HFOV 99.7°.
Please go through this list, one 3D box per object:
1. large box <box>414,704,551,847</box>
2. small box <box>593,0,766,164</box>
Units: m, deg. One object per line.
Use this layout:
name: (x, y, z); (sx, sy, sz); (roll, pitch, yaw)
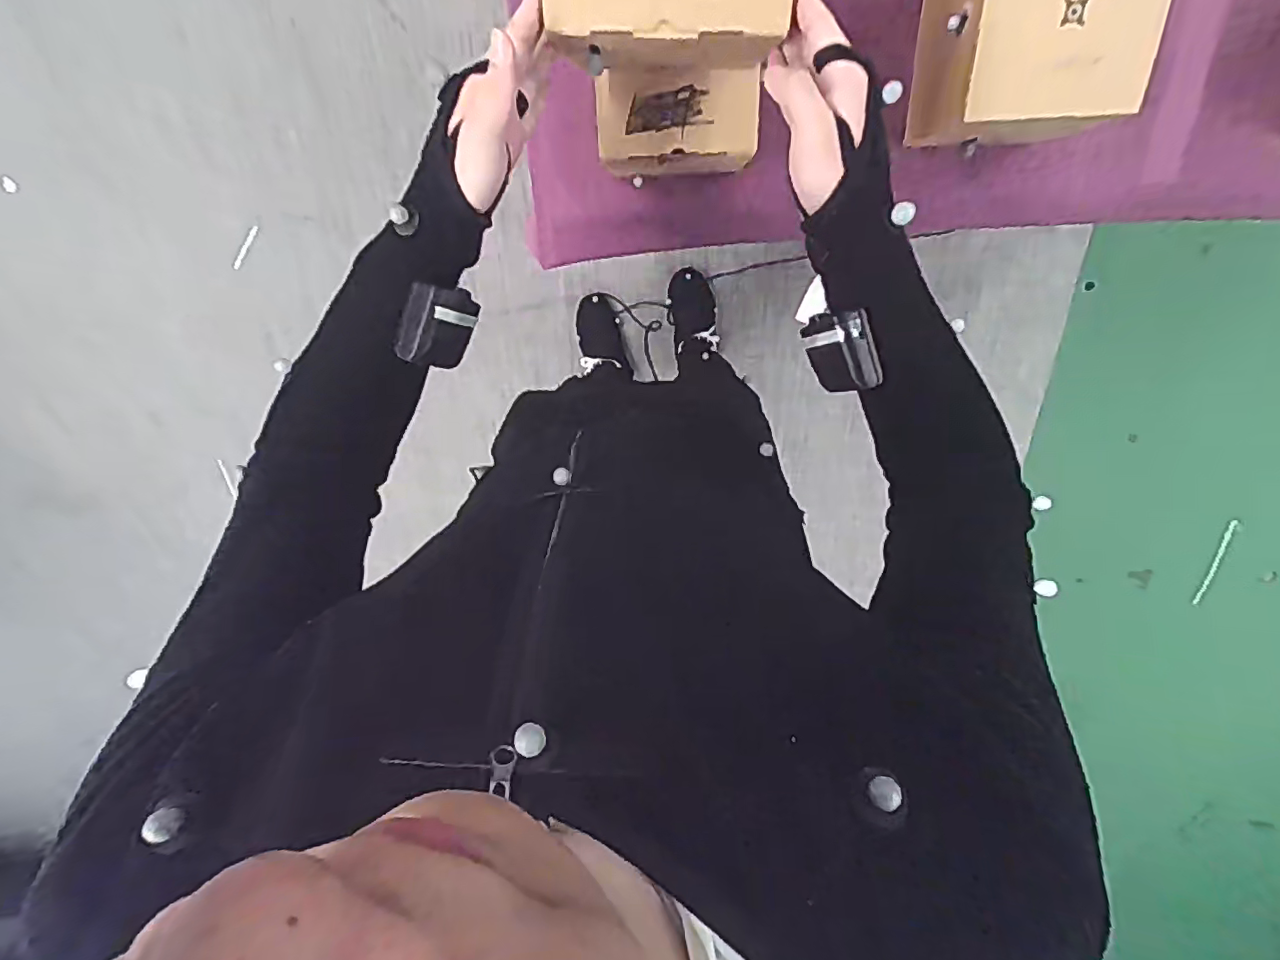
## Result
large box: (-0.603, 1.144, 2.108); (0.408, 0.320, 0.320); (21, 115, -8)
small box: (0.042, -0.455, 0.594); (0.168, 0.176, 0.179); (-1, 114, 3)
